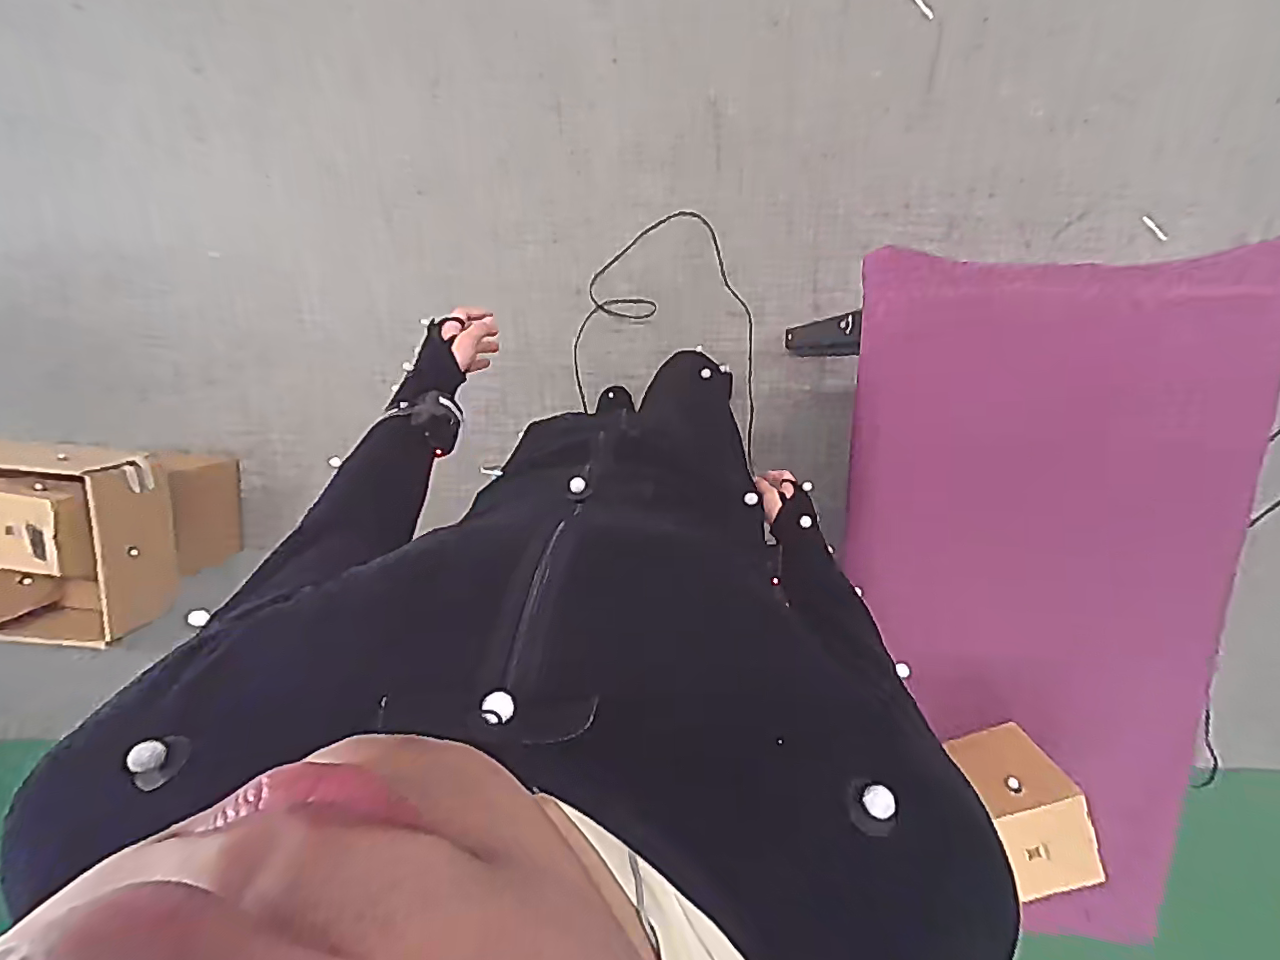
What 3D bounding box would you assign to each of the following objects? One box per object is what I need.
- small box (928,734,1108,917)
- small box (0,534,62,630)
[{"bbox_3d":[0.608,0.562,0.898,0.179,0.176,0.168,-20,100,5],"label":"small box"},{"bbox_3d":[-1.453,0.224,1.205,0.179,0.176,0.168,6,101,0],"label":"small box"}]
